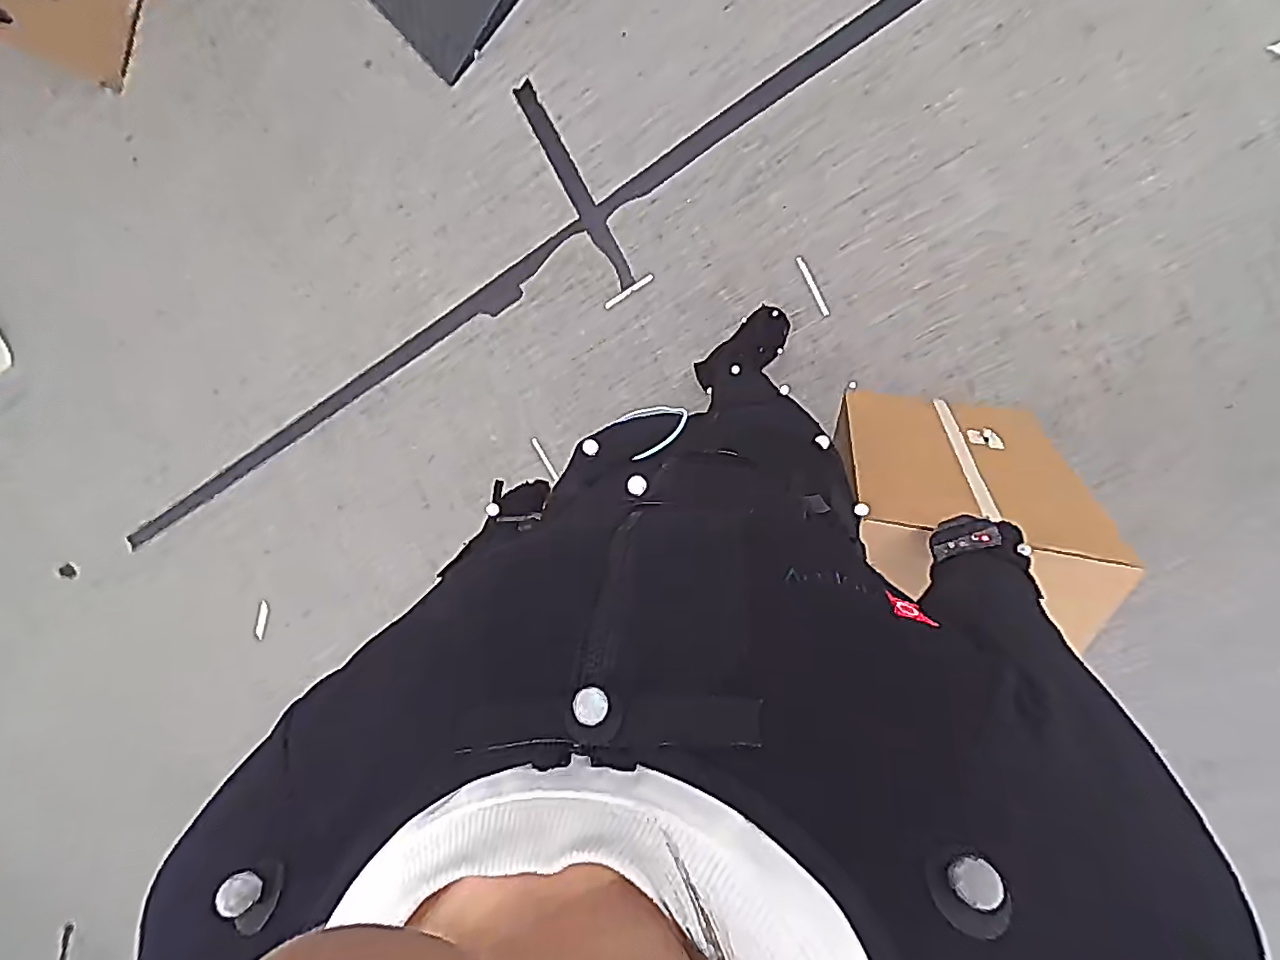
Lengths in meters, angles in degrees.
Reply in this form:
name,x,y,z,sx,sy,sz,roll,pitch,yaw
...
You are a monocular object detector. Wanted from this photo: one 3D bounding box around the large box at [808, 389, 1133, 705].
name,x,y,z,sx,sy,sz,roll,pitch,yaw
large box,0.468,0.086,0.896,0.320,0.408,0.320,11,124,9
